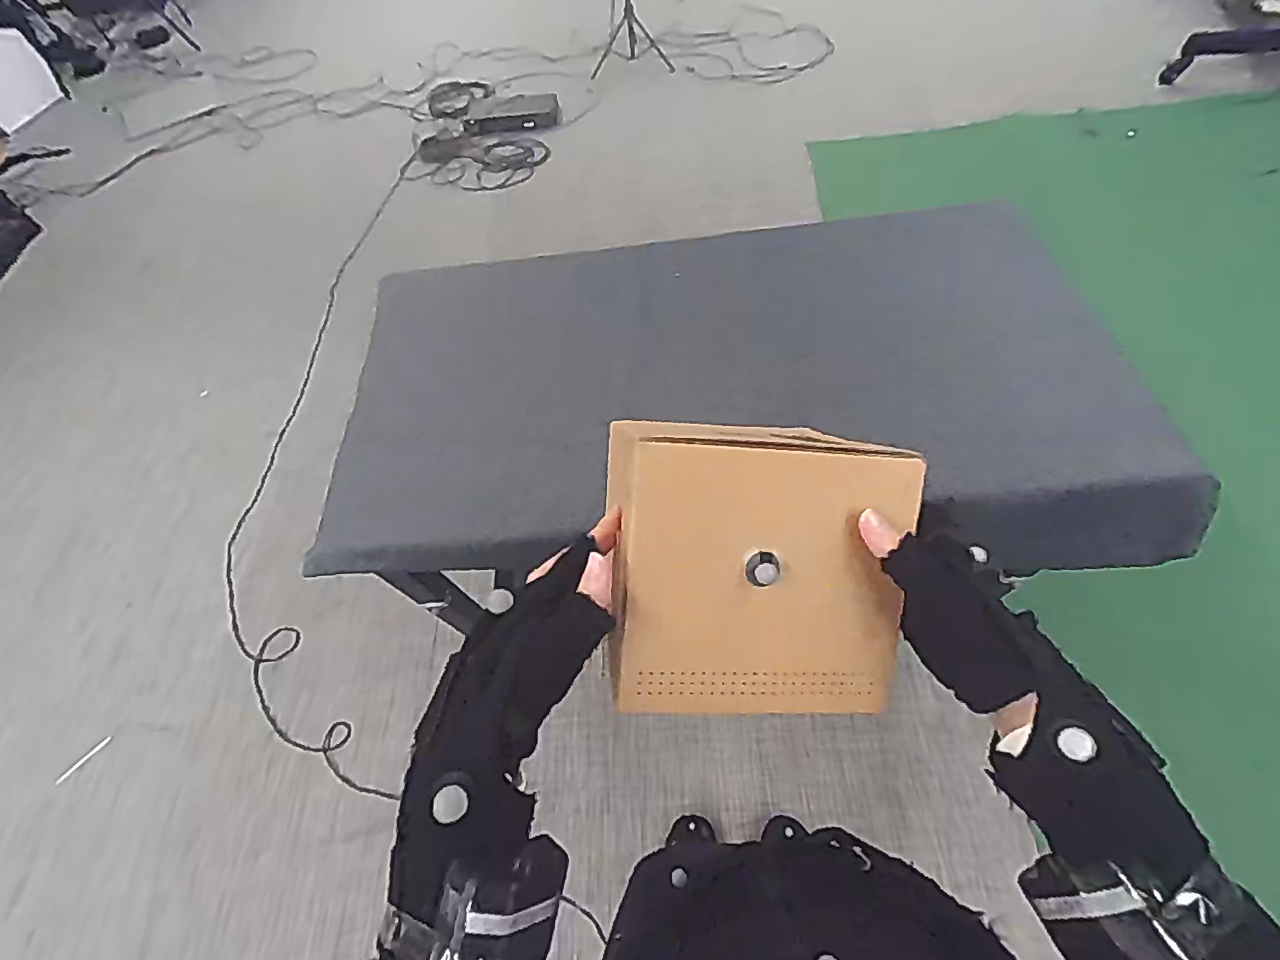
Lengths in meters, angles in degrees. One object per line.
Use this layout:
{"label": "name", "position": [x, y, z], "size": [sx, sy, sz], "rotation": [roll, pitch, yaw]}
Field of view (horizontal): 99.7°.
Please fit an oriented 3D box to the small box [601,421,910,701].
{"label": "small box", "position": [0.068, 0.052, 0.416], "size": [0.179, 0.168, 0.176], "rotation": [4, 98, -8]}
